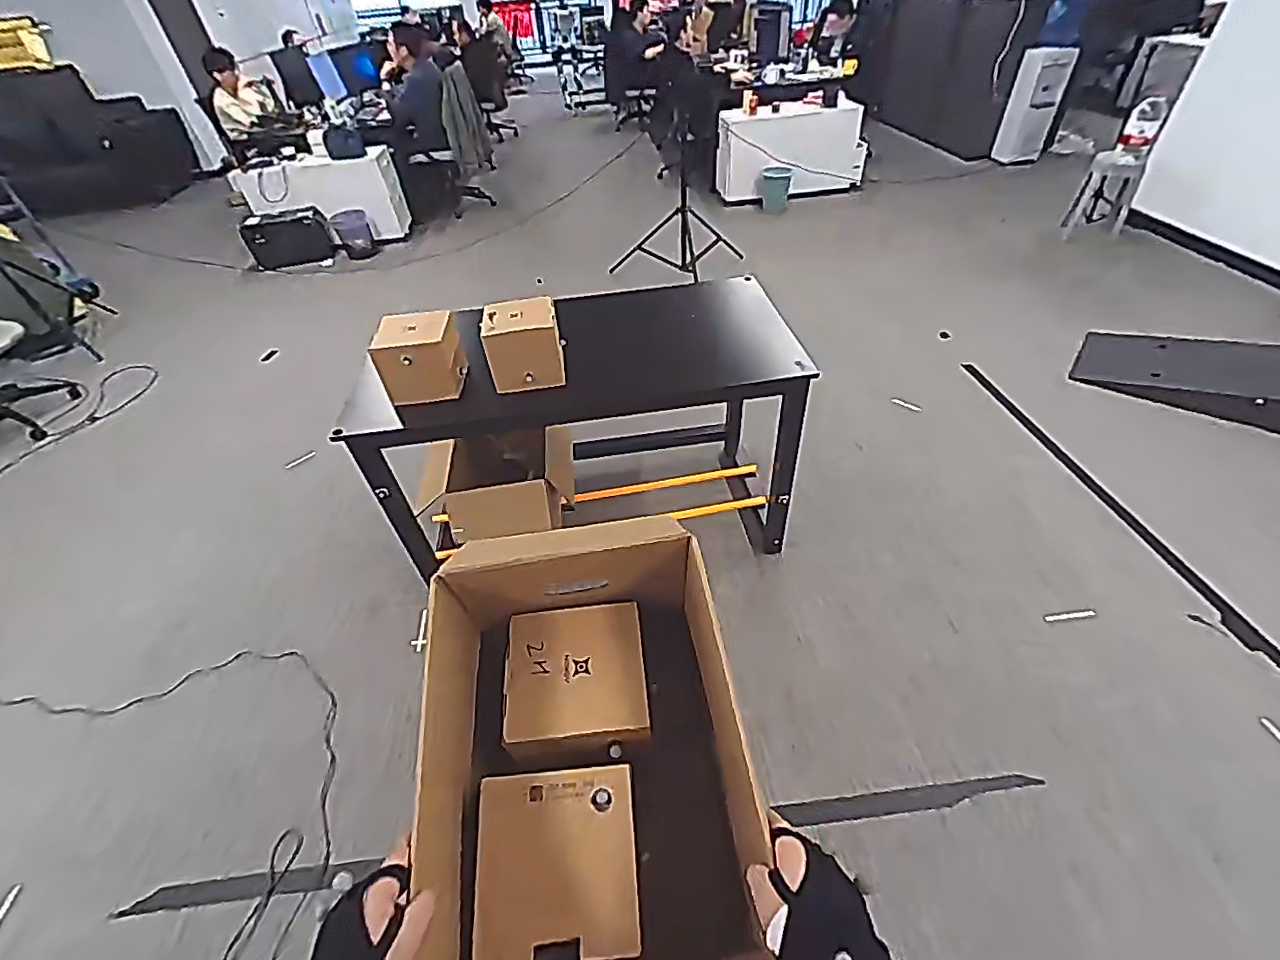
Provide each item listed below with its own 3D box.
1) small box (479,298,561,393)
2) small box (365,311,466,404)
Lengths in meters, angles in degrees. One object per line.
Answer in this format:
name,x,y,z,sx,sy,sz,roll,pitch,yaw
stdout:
small box,-0.299,-0.342,1.382,0.179,0.176,0.168,-8,43,-4
small box,-0.560,-0.308,1.372,0.179,0.176,0.168,-7,45,-3
